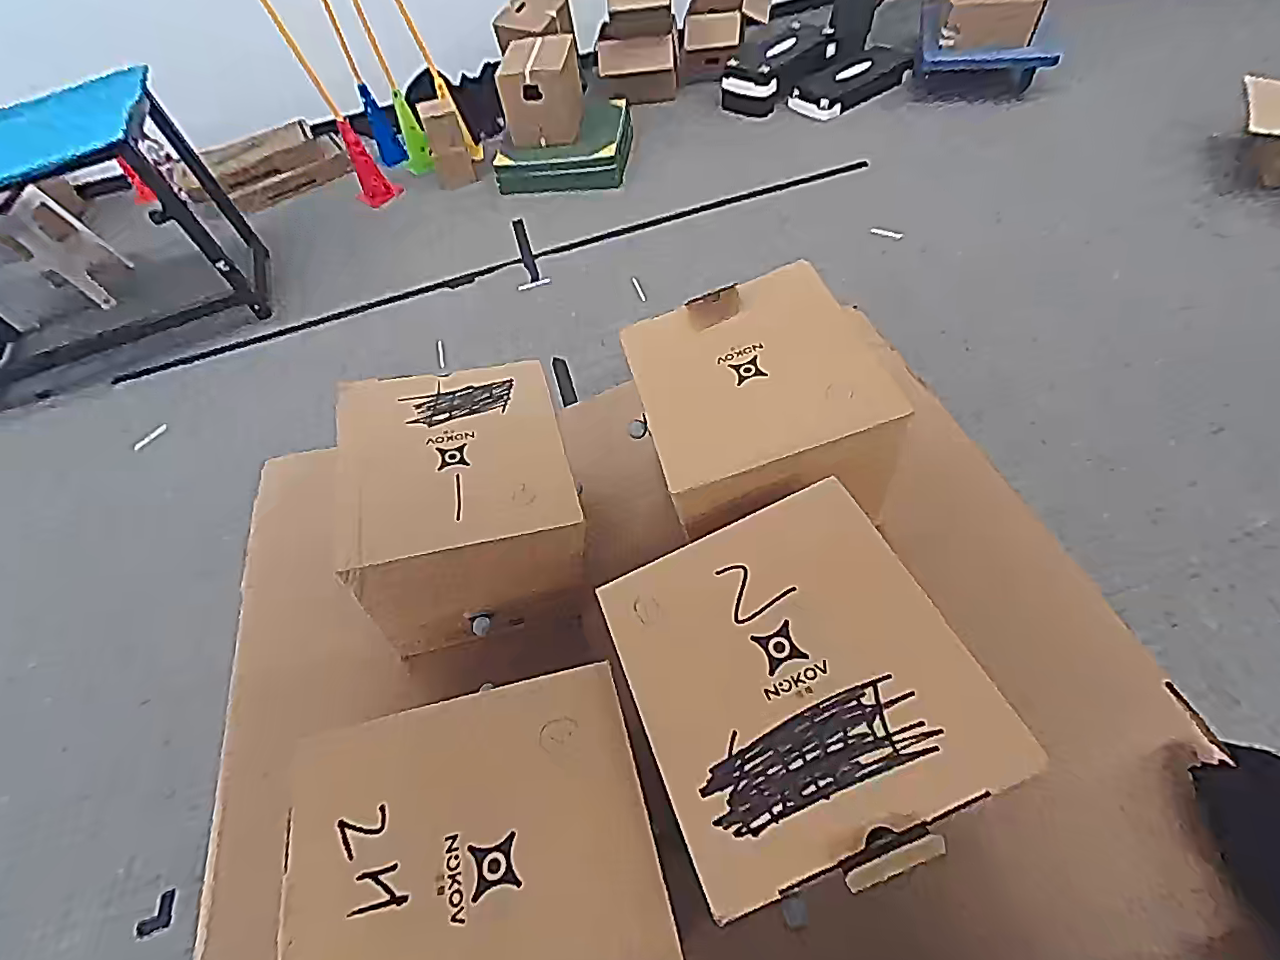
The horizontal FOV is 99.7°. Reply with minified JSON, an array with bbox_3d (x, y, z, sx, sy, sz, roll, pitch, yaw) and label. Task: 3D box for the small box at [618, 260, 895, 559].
[{"bbox_3d":[0.096,-0.048,0.475,0.168,0.176,0.179,-20,55,4],"label":"small box"}]
